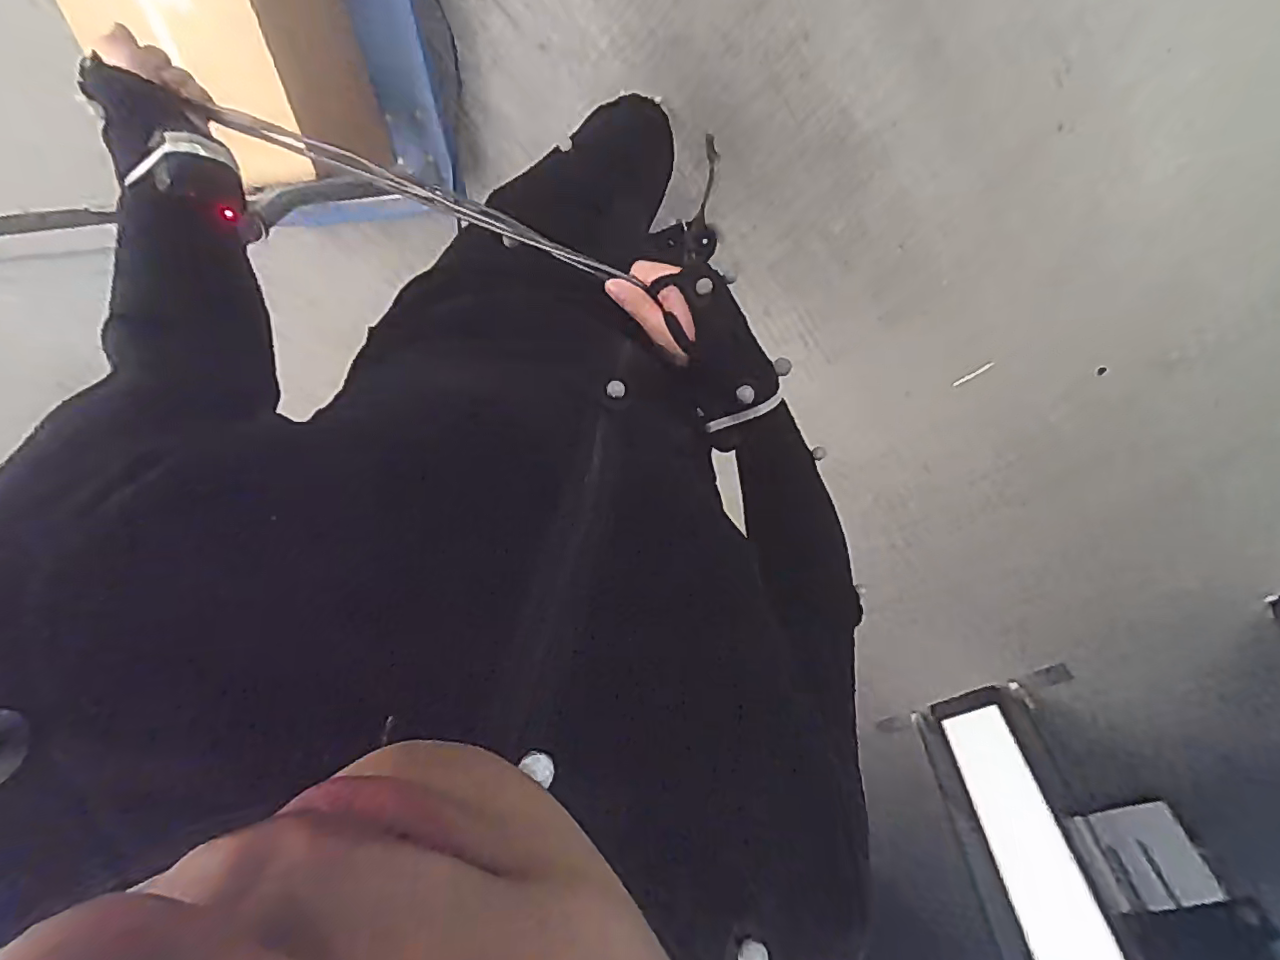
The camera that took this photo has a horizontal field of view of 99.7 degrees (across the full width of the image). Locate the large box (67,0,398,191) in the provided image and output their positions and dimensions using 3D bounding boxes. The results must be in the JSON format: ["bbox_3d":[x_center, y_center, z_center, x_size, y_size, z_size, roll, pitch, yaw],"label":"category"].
[{"bbox_3d":[-0.705,-0.771,0.962,0.320,0.320,0.408,-2,124,7],"label":"large box"}]
